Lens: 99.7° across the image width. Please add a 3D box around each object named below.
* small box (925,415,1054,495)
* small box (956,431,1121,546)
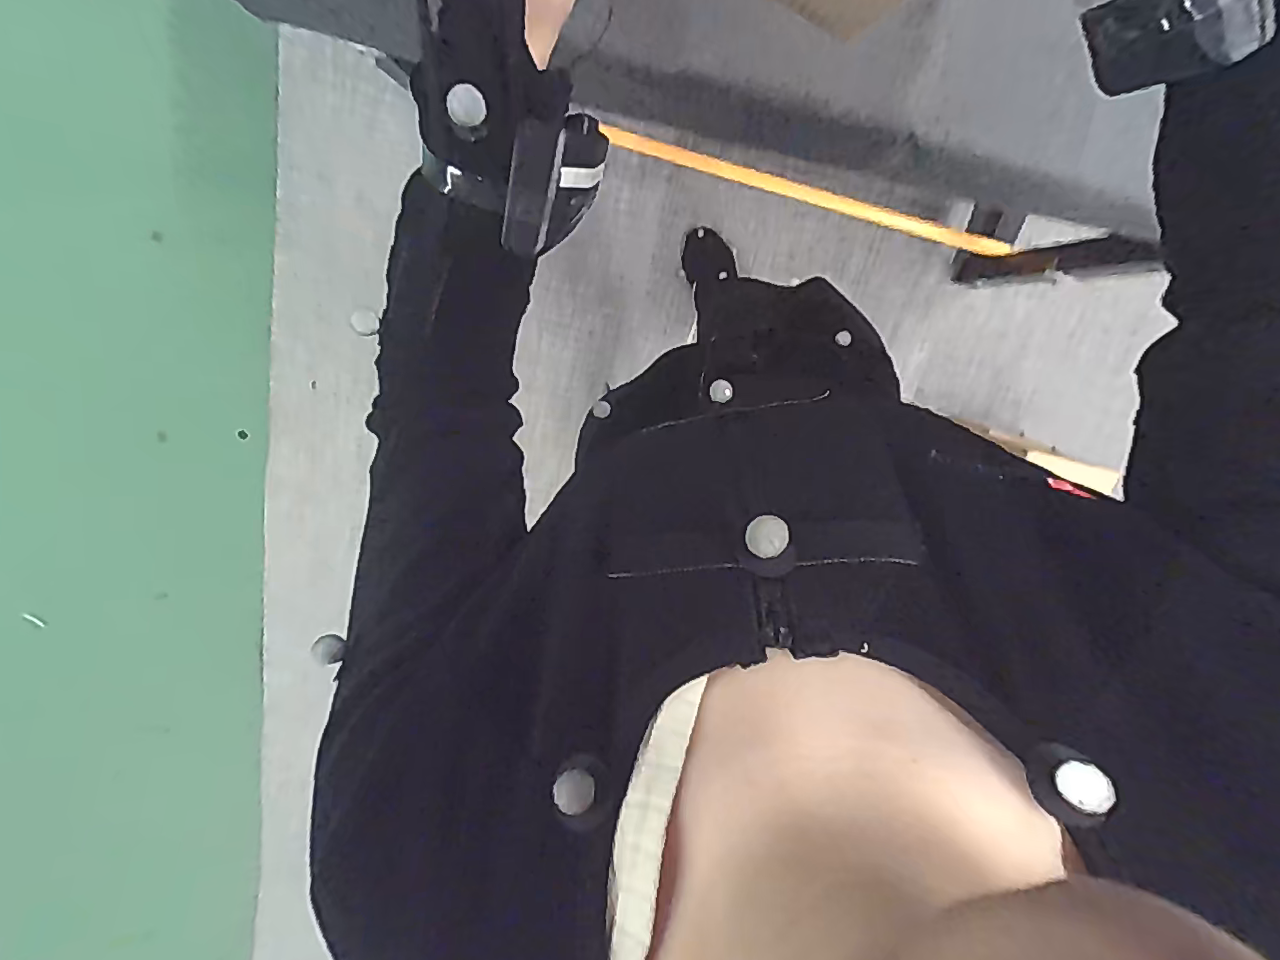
[{"bbox_3d":[0.797,-0.041,1.232,0.179,0.176,0.168,16,107,-1],"label":"small box"},{"bbox_3d":[0.775,0.008,1.076,0.179,0.176,0.168,13,107,-2],"label":"small box"}]
